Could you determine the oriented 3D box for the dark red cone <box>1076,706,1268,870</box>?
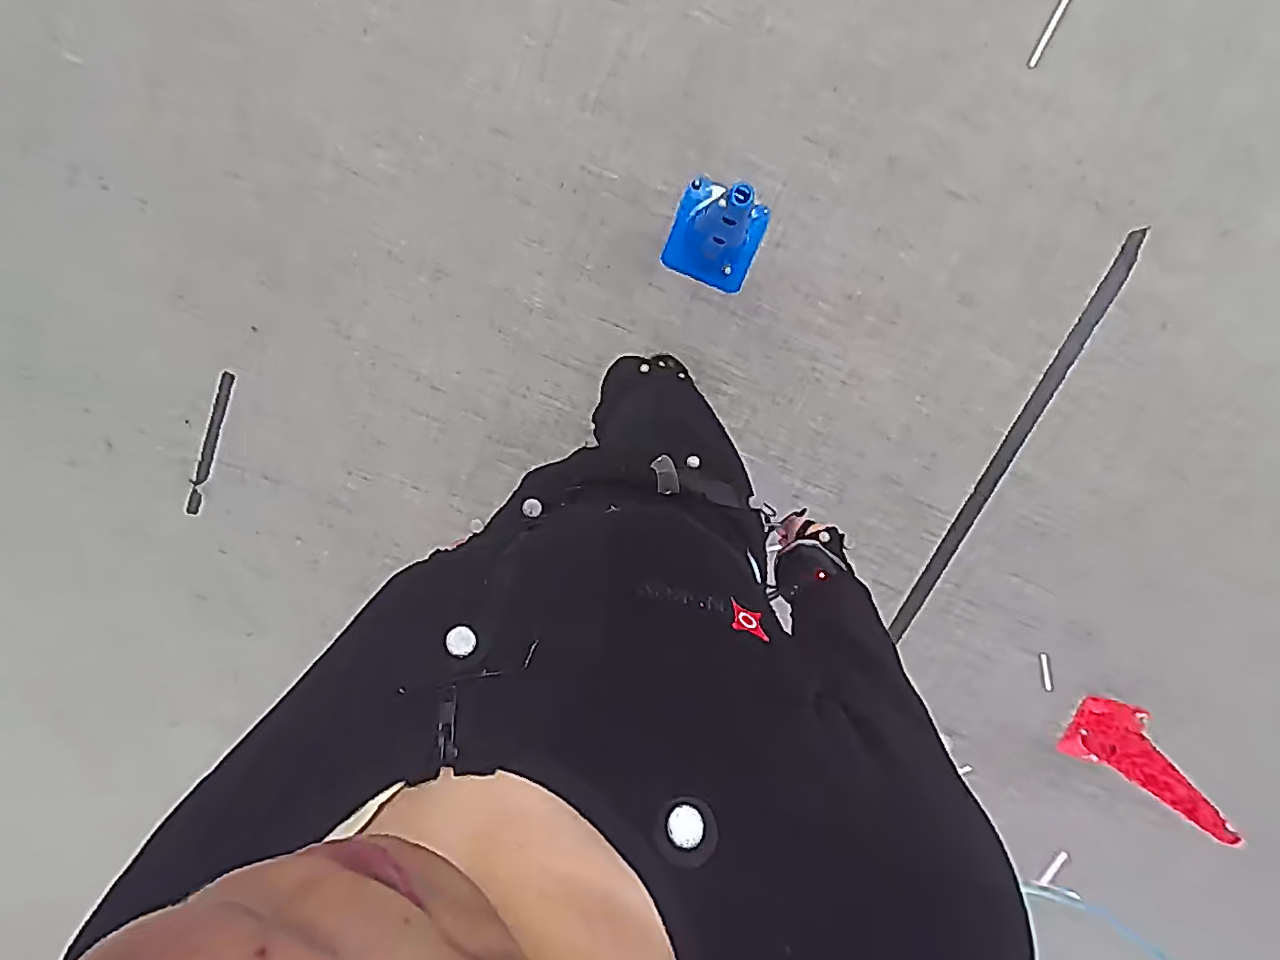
[{"bbox_3d":[1.328,0.766,1.339,0.201,0.394,0.202,15,104,-2],"label":"dark red cone"}]

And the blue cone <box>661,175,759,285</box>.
[{"bbox_3d":[0.155,-0.518,1.061,0.192,0.380,0.193,23,103,-4],"label":"blue cone"}]
